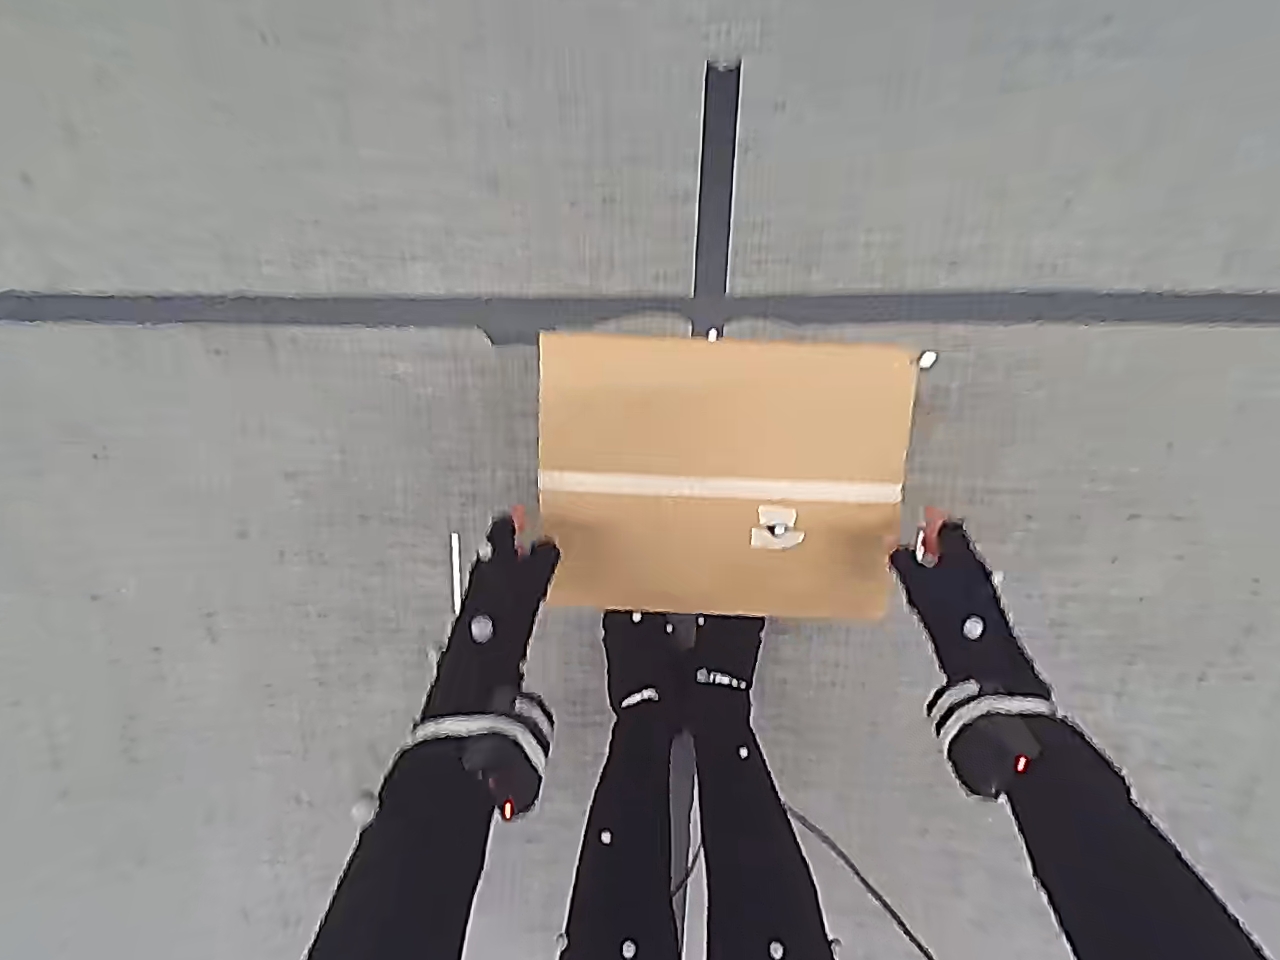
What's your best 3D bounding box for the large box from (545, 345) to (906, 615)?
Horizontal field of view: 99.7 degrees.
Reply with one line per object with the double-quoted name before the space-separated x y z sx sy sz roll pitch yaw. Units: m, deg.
"large box" 0.091 -0.018 0.764 0.408 0.320 0.320 2 102 0
